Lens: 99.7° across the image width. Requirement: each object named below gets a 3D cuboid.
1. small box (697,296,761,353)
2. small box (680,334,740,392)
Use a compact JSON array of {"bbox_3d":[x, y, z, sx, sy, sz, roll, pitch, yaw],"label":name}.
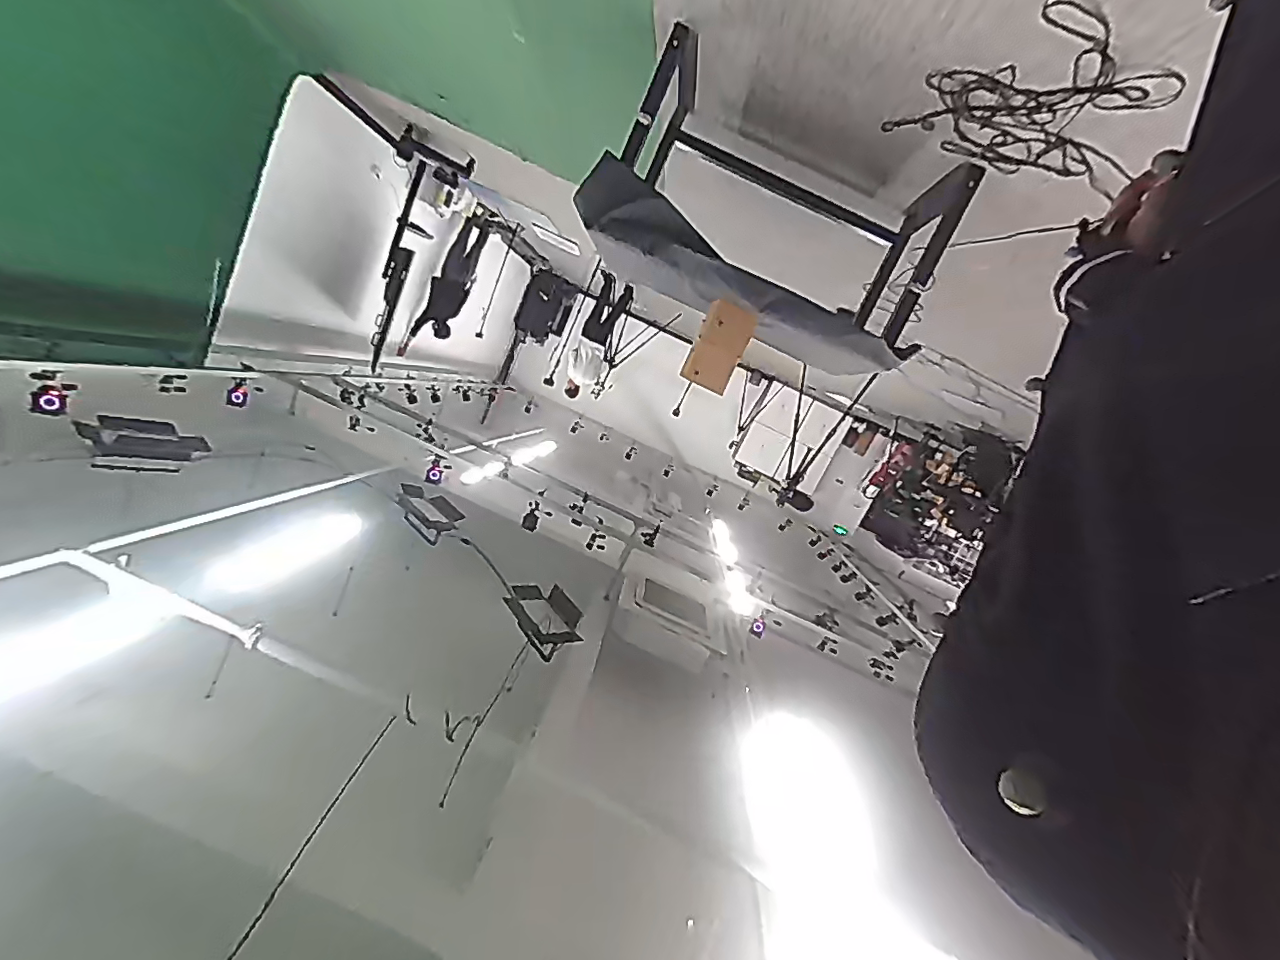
[{"bbox_3d":[0.349,-0.619,2.146,0.179,0.176,0.168,22,-168,-9],"label":"small box"},{"bbox_3d":[0.282,-0.475,2.181,0.179,0.176,0.168,24,-168,-9],"label":"small box"}]
